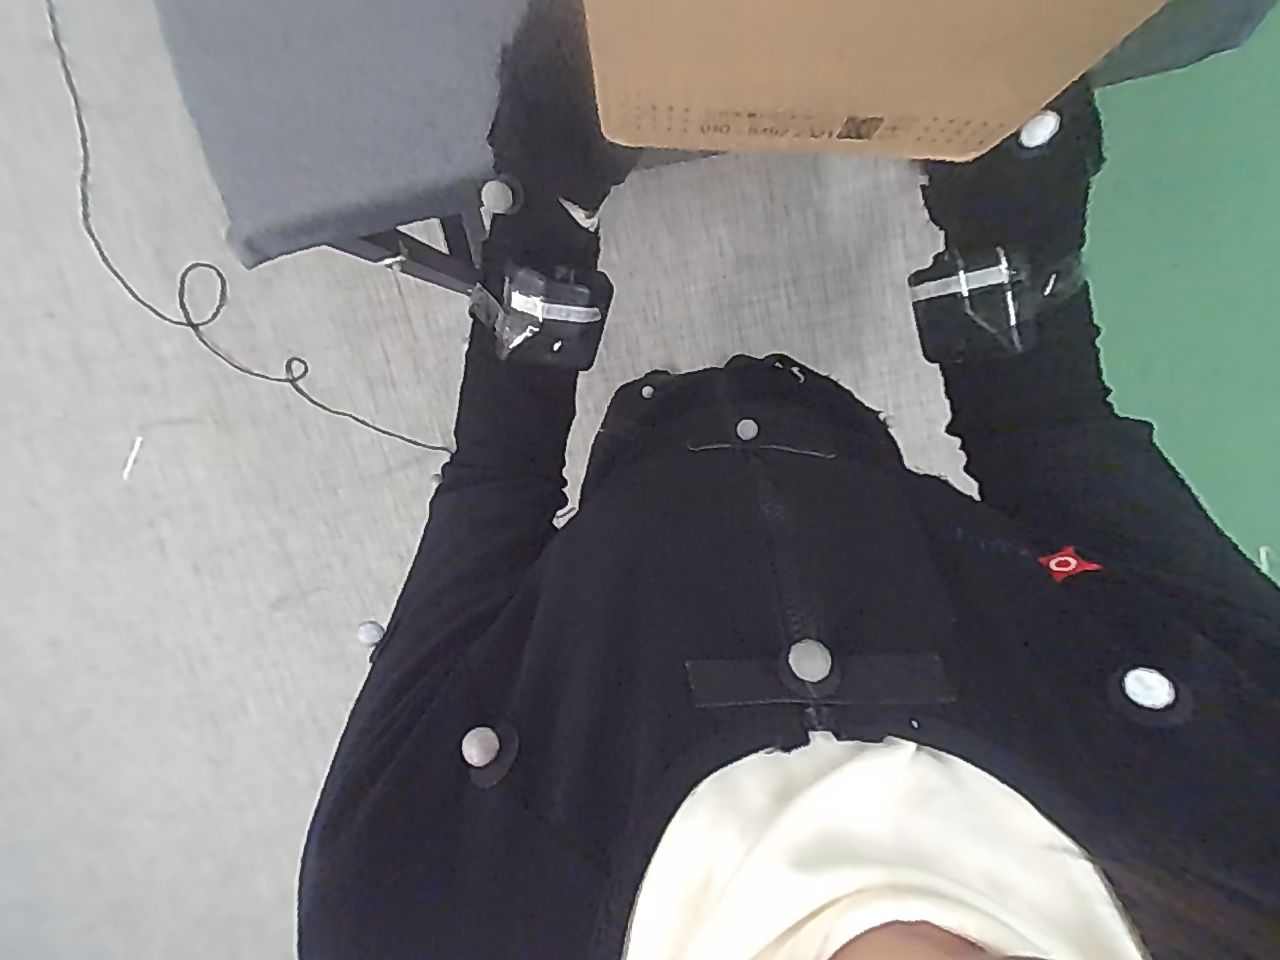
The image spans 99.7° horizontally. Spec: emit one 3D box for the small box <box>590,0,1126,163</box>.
[{"bbox_3d":[0.068,-0.229,0.155,0.168,0.176,0.179,2,92,0],"label":"small box"}]
